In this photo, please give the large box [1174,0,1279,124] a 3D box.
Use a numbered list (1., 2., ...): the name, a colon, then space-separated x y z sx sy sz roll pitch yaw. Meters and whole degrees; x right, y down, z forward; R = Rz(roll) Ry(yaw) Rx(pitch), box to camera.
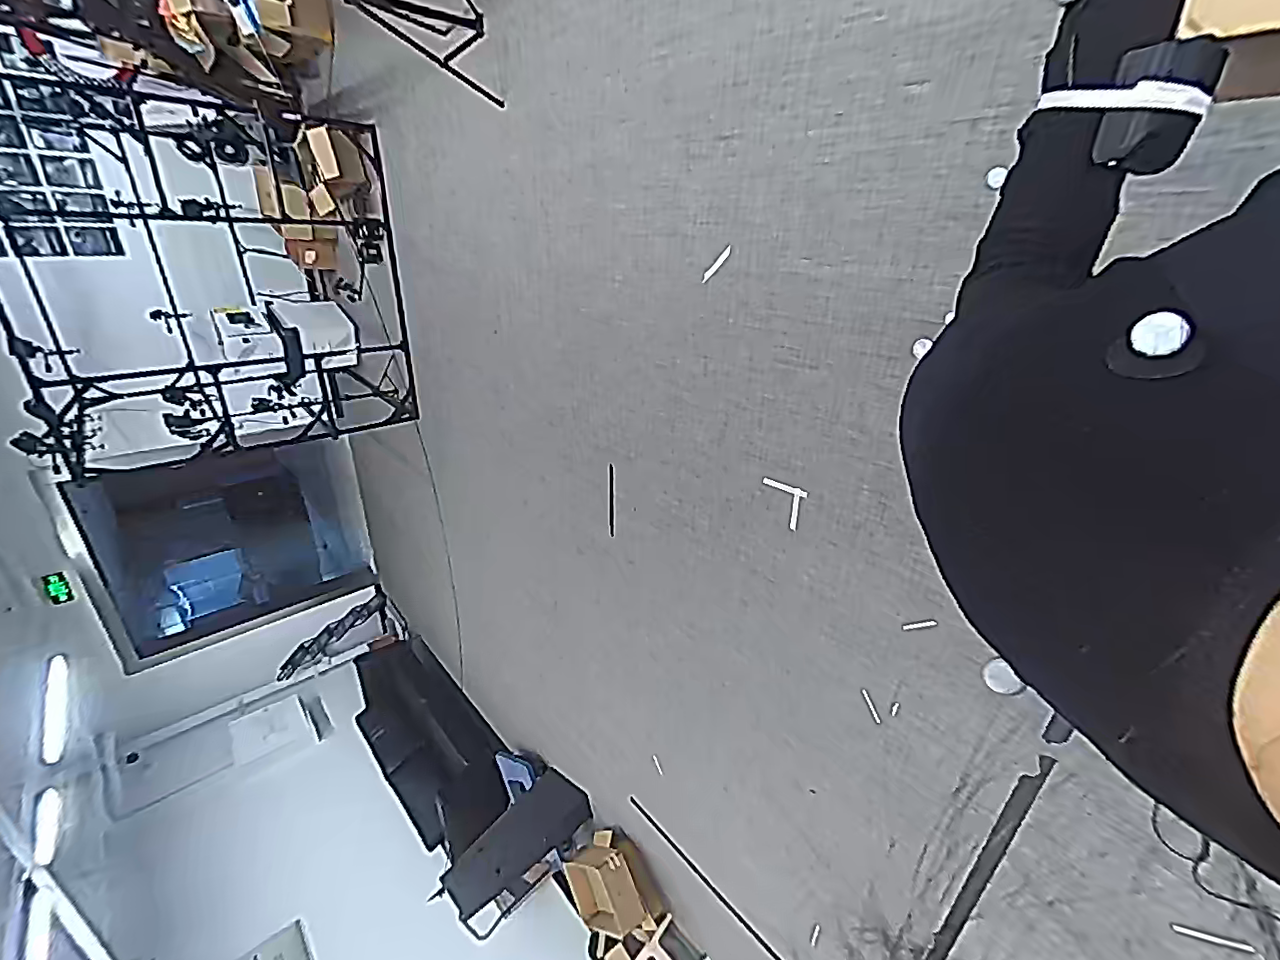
1. large box: 0.573 -0.386 0.244 0.408 0.320 0.320 22 125 41
